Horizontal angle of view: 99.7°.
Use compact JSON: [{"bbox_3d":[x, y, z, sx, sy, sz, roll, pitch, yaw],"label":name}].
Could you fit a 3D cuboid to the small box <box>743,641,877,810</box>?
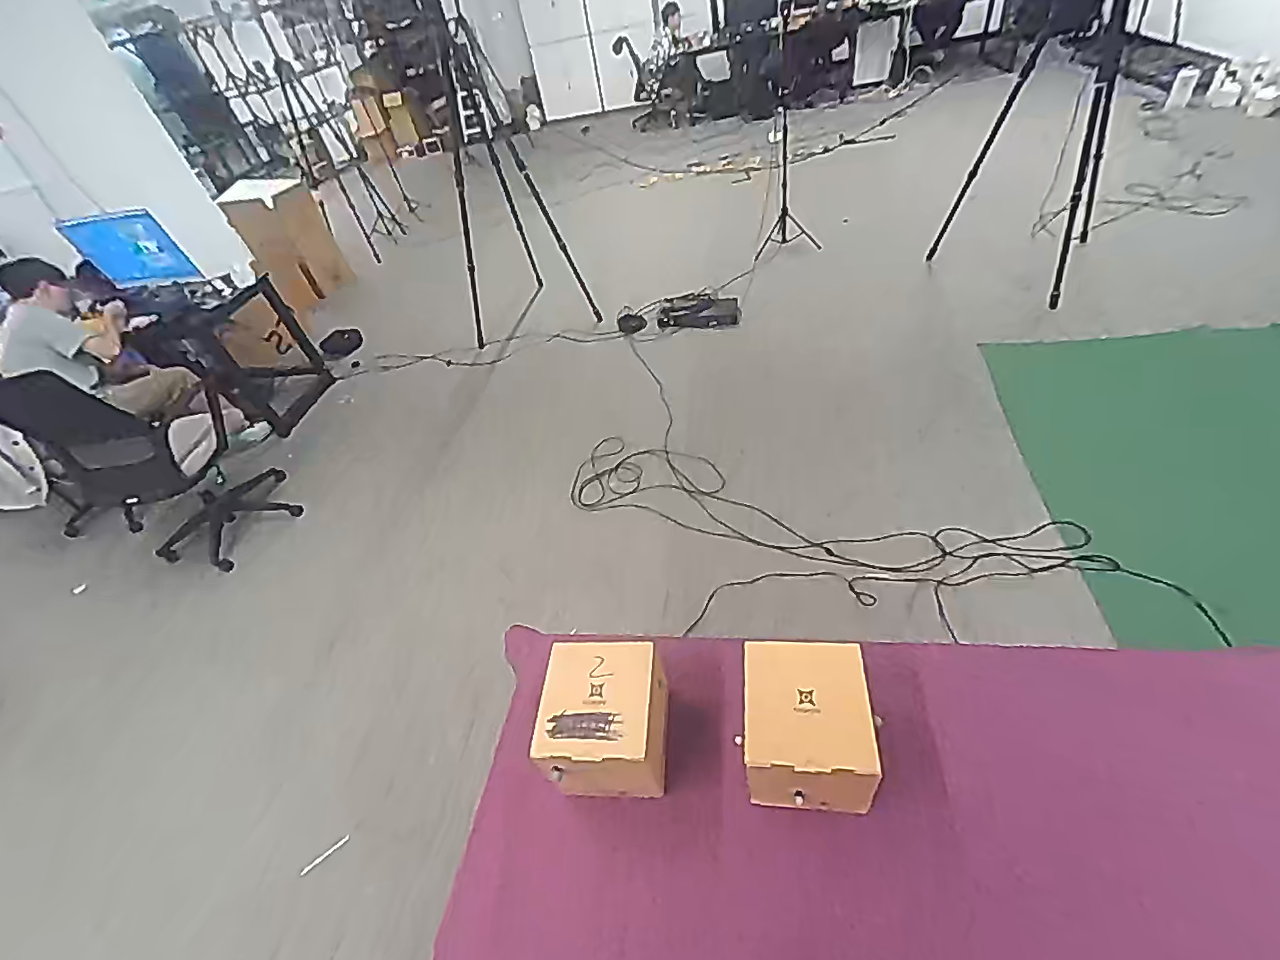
[{"bbox_3d":[0.239,0.358,0.795,0.168,0.176,0.179,-3,46,13],"label":"small box"}]
